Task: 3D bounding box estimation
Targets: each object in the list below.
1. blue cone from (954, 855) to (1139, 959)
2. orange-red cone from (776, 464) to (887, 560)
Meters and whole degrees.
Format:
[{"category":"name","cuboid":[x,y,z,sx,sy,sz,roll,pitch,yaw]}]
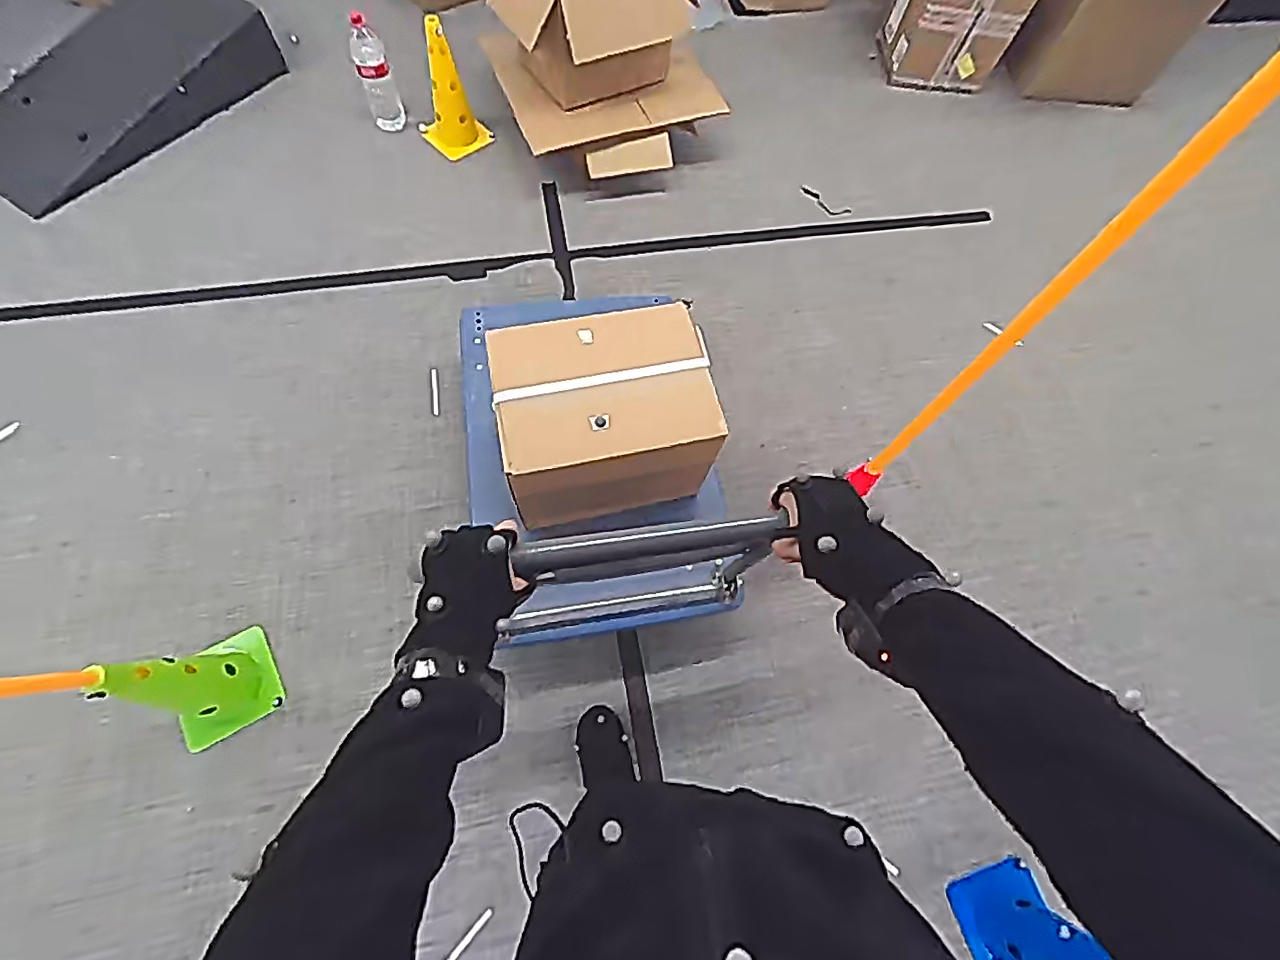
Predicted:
[{"category":"blue cone","cuboid":[0.786,0.854,0.983,0.193,0.380,0.192,-12,67,-10]},{"category":"orange-red cone","cuboid":[0.485,0.050,1.287,0.199,0.360,0.198,-2,68,-7]}]
